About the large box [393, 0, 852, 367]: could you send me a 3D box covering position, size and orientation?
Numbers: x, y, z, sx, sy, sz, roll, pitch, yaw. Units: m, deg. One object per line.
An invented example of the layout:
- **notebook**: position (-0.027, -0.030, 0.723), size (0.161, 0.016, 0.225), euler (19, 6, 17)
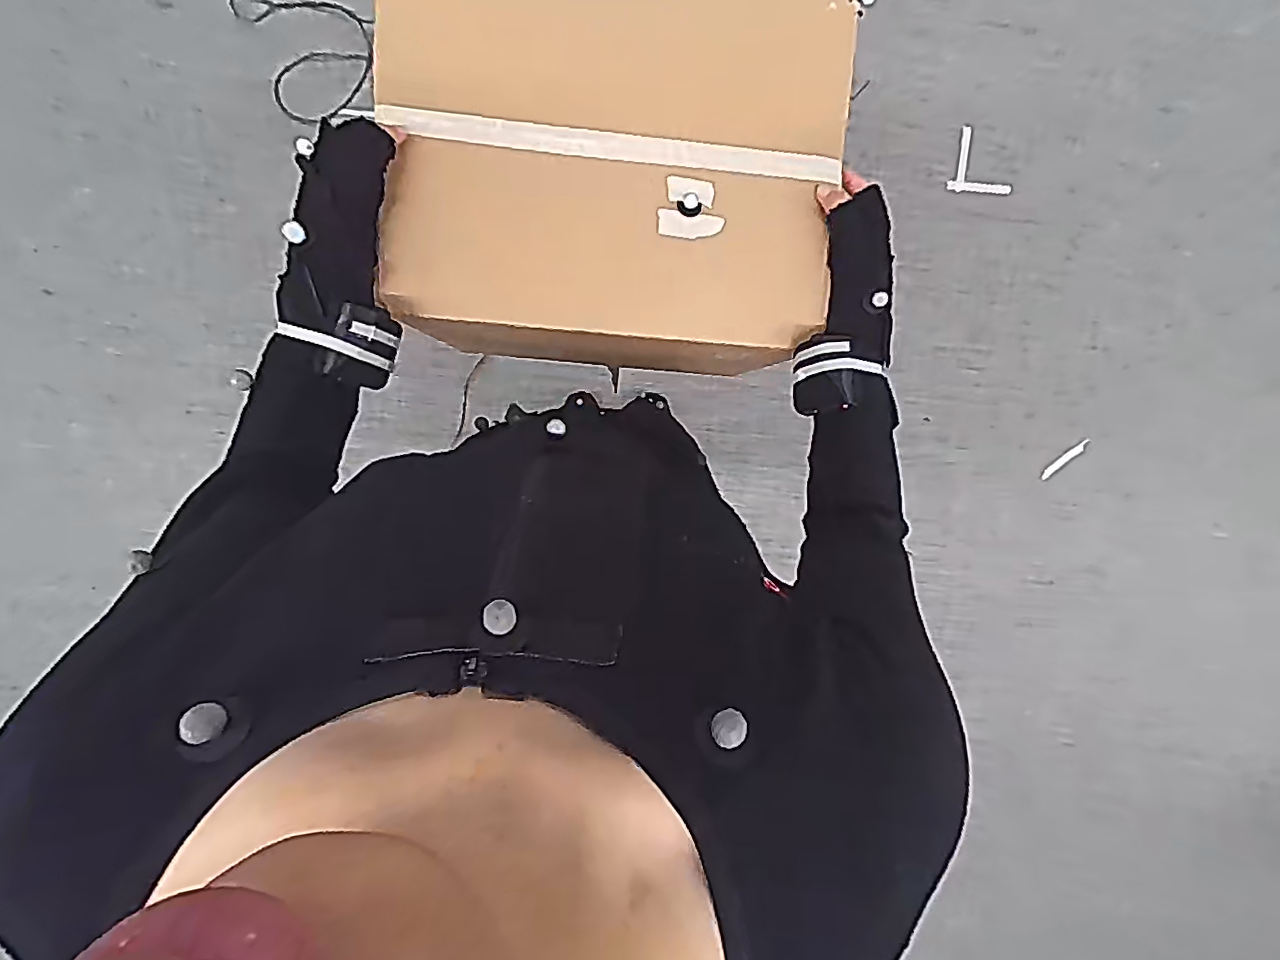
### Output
- **large box**: position (-0.028, -0.314, 0.629), size (0.408, 0.320, 0.320), euler (4, 96, -6)
